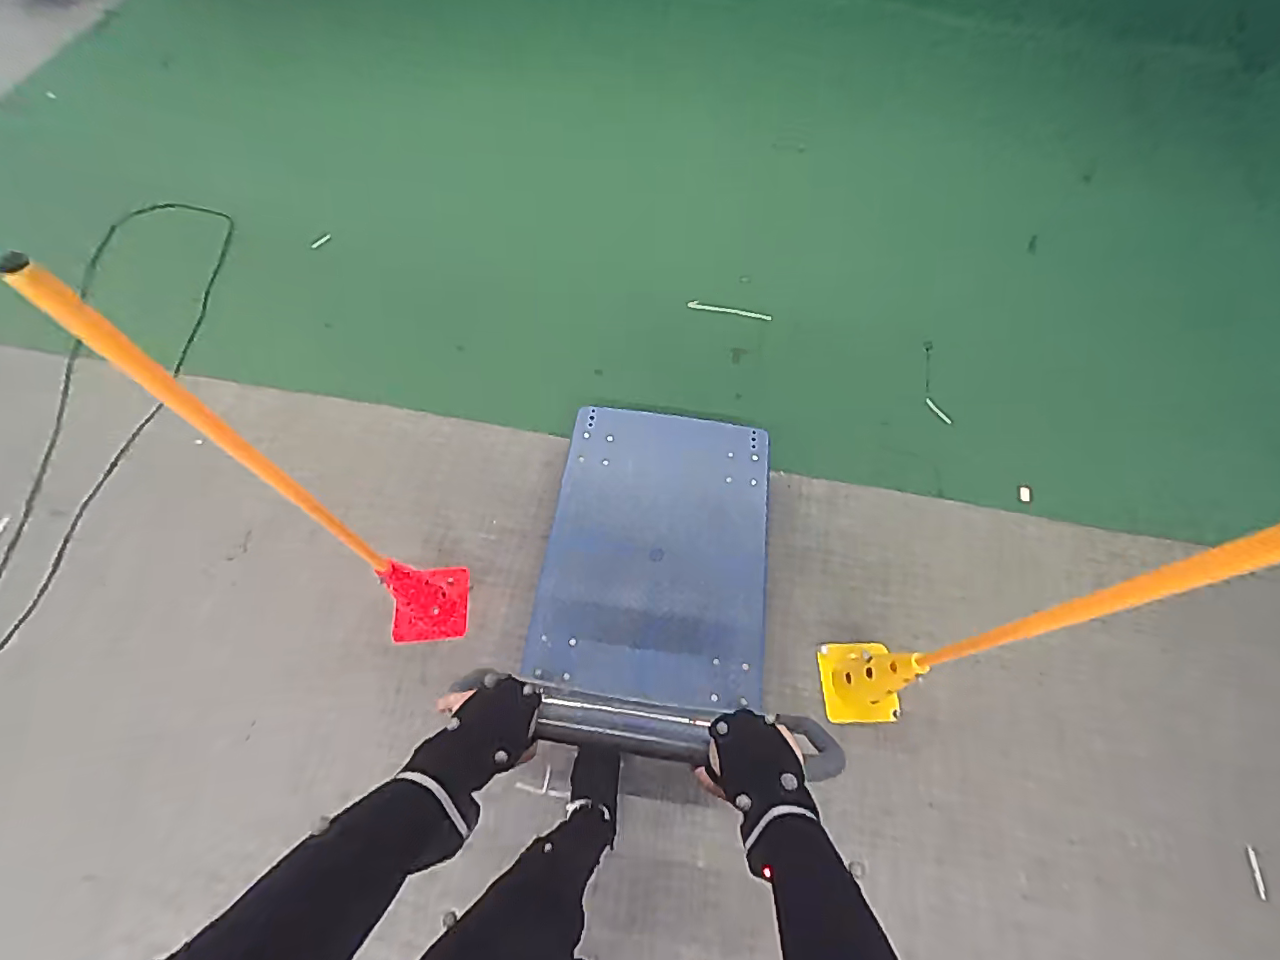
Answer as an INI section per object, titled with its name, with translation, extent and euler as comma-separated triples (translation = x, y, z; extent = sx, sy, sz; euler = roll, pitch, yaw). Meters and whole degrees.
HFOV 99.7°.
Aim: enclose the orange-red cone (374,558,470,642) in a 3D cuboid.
[orange-red cone]
translation = -0.578, 0.271, 1.352
extent = 0.199, 0.360, 0.198
euler = -4, 63, -3
